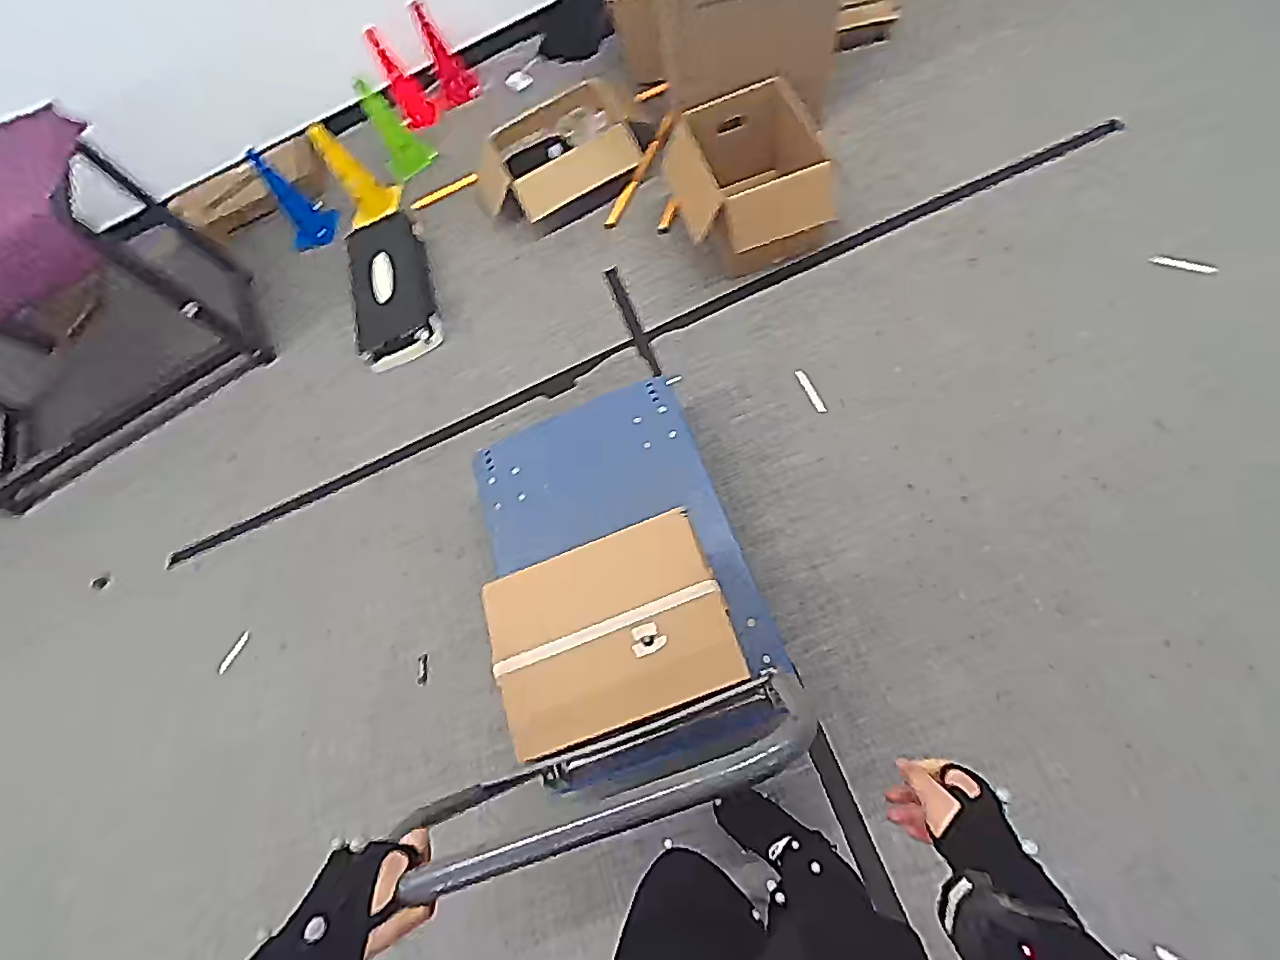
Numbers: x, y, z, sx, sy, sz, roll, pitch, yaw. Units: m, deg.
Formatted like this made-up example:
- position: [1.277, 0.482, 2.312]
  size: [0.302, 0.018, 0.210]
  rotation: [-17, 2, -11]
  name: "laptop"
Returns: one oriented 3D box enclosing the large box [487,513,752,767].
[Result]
- position: [-0.027, 0.321, 1.065]
  size: [0.408, 0.320, 0.320]
  rotation: [-22, 65, 3]
  name: "large box"
